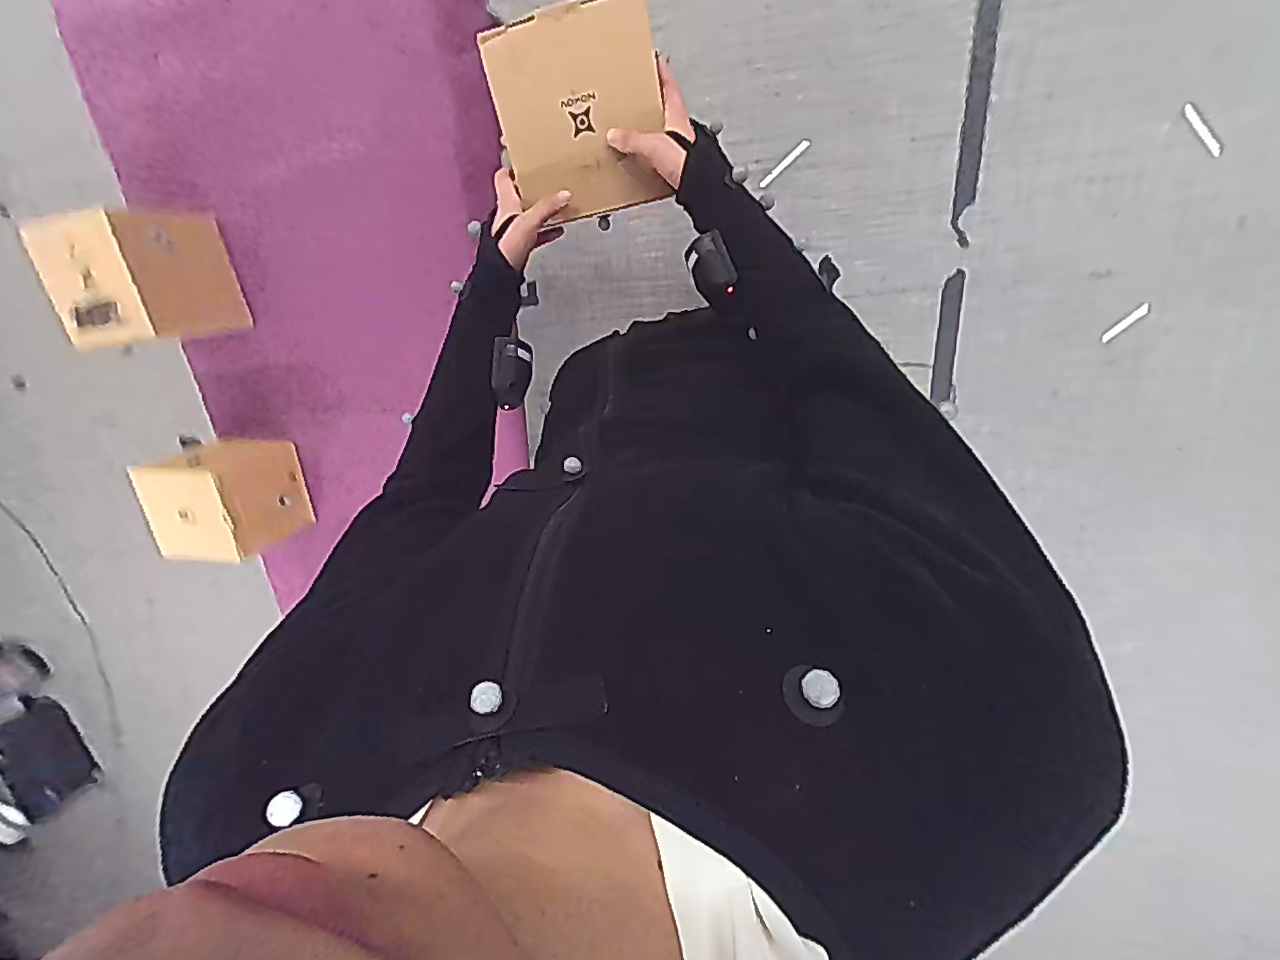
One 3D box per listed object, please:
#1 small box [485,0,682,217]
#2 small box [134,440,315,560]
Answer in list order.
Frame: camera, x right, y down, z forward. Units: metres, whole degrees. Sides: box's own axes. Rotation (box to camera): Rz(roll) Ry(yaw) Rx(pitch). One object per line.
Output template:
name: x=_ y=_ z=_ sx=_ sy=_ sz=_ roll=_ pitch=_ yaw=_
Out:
small box: x=-0.047 y=-0.403 z=0.601 sx=0.168 sy=0.176 sz=0.179 roll=-8 pitch=117 yaw=9
small box: x=-0.745 y=0.030 z=0.987 sx=0.179 sy=0.176 sz=0.168 roll=1 pitch=112 yaw=12
